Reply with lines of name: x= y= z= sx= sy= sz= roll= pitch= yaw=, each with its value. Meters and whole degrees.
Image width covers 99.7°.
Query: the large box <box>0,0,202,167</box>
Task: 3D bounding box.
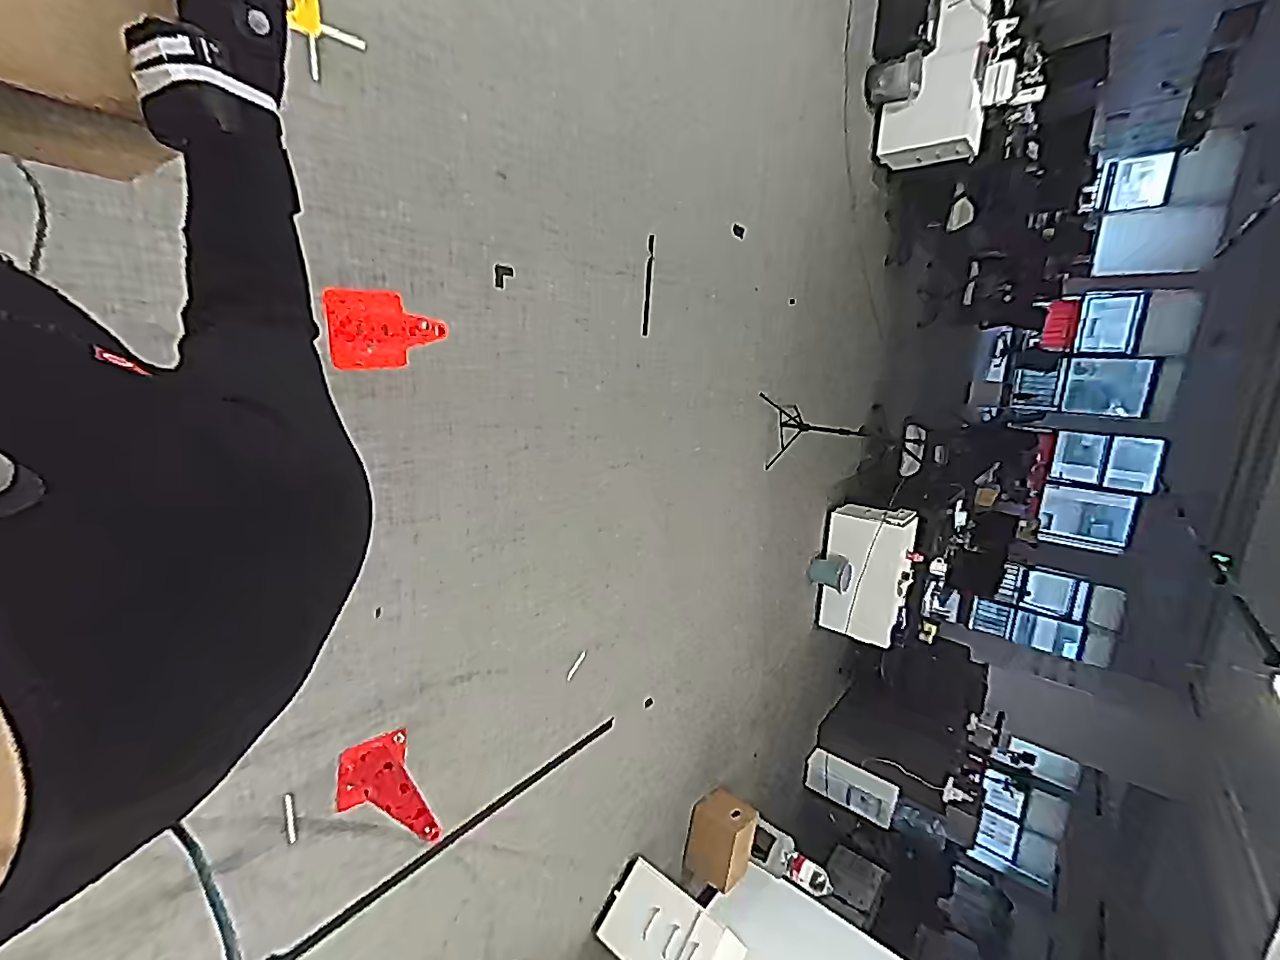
large box: x=-0.565 y=-0.428 z=0.318 sx=0.408 sy=0.320 sz=0.320 roll=-11 pitch=112 yaw=-51

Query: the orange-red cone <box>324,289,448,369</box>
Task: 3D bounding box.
orange-red cone: x=-0.580 y=-0.365 z=1.305 sx=0.198 sy=0.360 sz=0.199 roll=-16 pitch=111 yaw=-49

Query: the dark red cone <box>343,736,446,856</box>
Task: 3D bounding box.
dark red cone: x=-0.663 y=0.916 z=1.518 sx=0.201 sy=0.394 sz=0.202 roll=-3 pitch=102 yaw=-50
